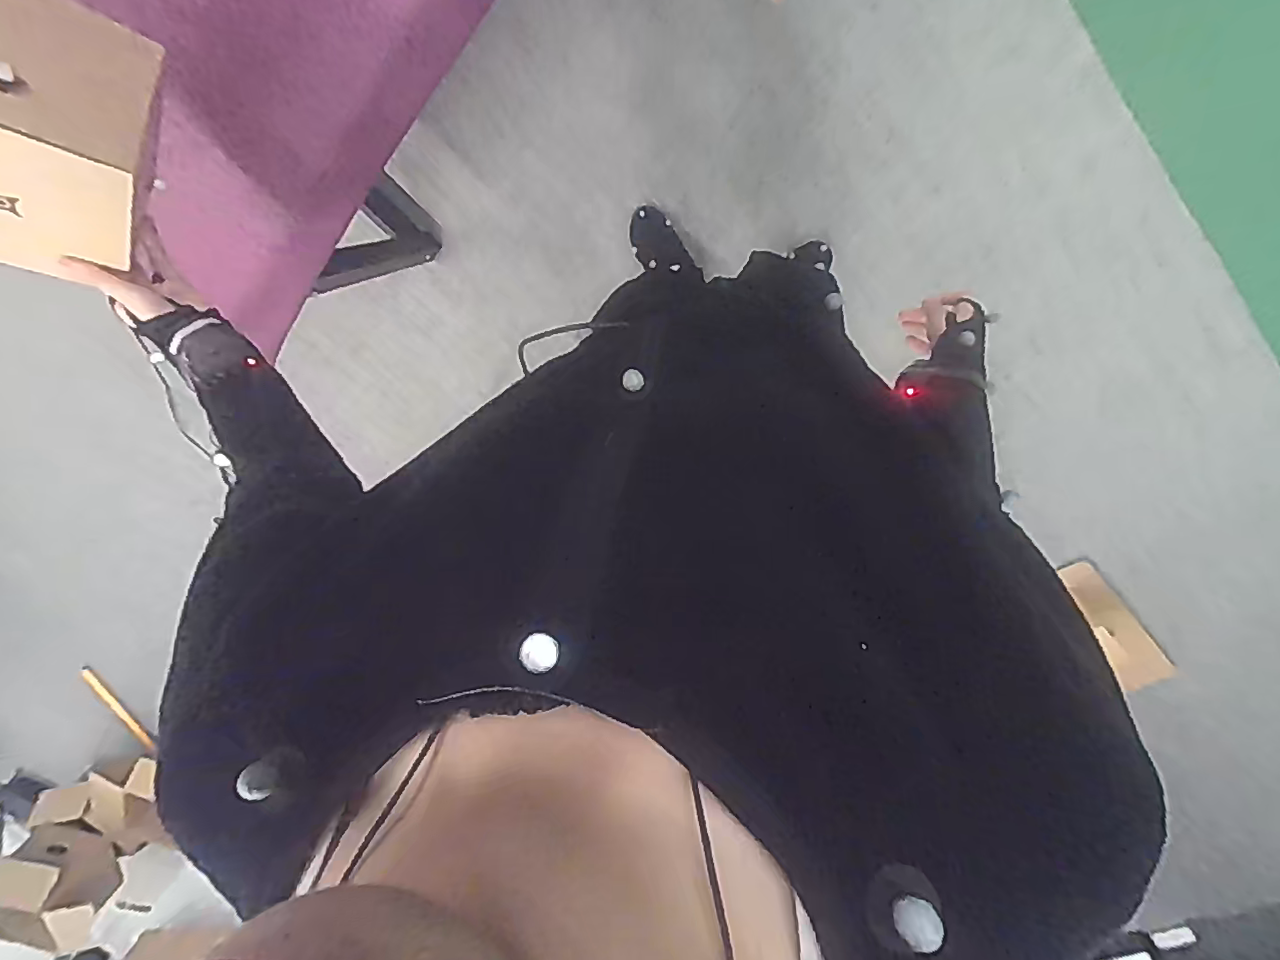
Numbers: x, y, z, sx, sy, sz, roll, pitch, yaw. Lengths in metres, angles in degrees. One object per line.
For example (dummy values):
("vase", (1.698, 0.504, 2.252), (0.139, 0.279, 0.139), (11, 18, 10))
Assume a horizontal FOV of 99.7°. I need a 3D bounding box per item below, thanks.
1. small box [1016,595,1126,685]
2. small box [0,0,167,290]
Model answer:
("small box", (1.288, 0.474, 1.630), (0.179, 0.176, 0.168), (41, 116, -16))
("small box", (-0.525, -0.300, 0.452), (0.179, 0.176, 0.168), (11, 152, -42))
